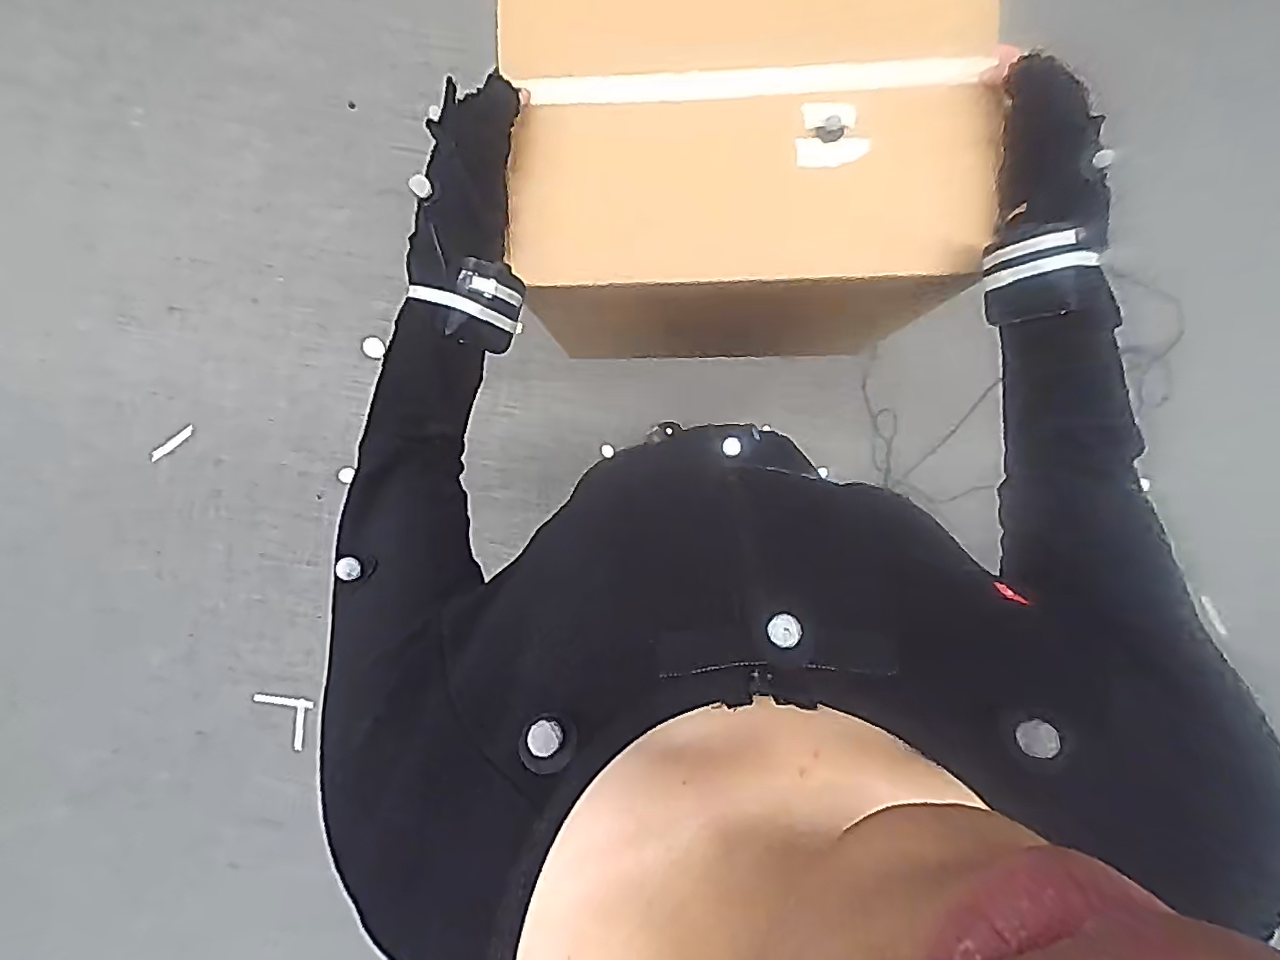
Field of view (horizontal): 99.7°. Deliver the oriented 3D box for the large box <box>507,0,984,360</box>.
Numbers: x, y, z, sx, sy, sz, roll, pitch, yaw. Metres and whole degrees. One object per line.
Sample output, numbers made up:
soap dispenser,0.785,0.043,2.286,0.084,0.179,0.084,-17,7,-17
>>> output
large box,0.090,-0.328,0.609,0.408,0.320,0.320,-1,91,2
